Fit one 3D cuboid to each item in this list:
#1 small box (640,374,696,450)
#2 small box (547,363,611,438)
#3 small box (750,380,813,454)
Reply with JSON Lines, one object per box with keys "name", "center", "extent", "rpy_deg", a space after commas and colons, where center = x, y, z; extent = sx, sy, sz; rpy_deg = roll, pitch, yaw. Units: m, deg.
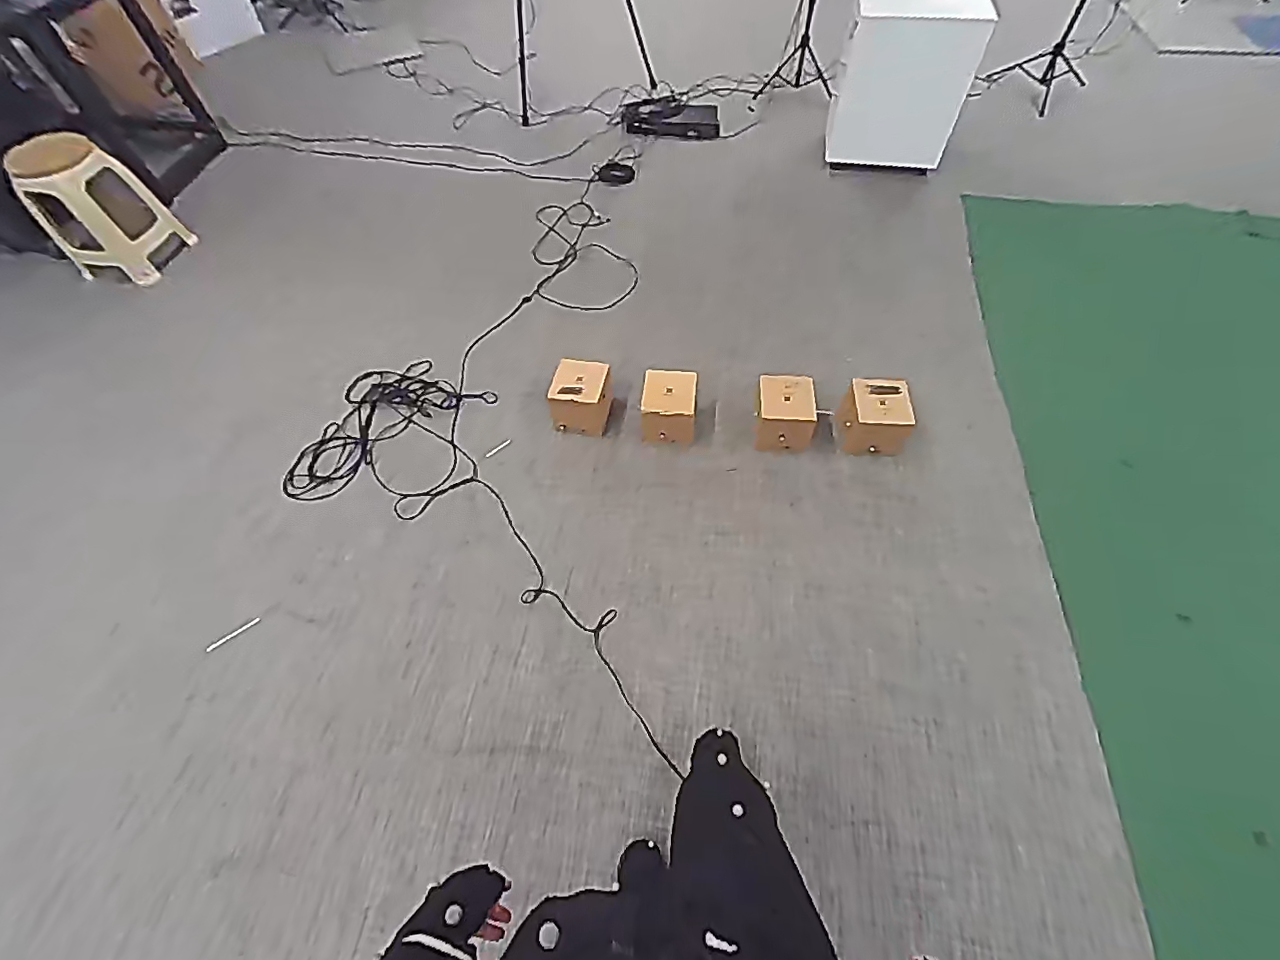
{"name": "small box", "center": [0.091, -0.222, 1.766], "extent": [0.168, 0.176, 0.179], "rpy_deg": [4, 58, 5]}
{"name": "small box", "center": [-0.195, -0.261, 1.800], "extent": [0.168, 0.176, 0.179], "rpy_deg": [9, 58, 7]}
{"name": "small box", "center": [0.449, -0.199, 1.736], "extent": [0.168, 0.176, 0.179], "rpy_deg": [3, 58, 3]}
